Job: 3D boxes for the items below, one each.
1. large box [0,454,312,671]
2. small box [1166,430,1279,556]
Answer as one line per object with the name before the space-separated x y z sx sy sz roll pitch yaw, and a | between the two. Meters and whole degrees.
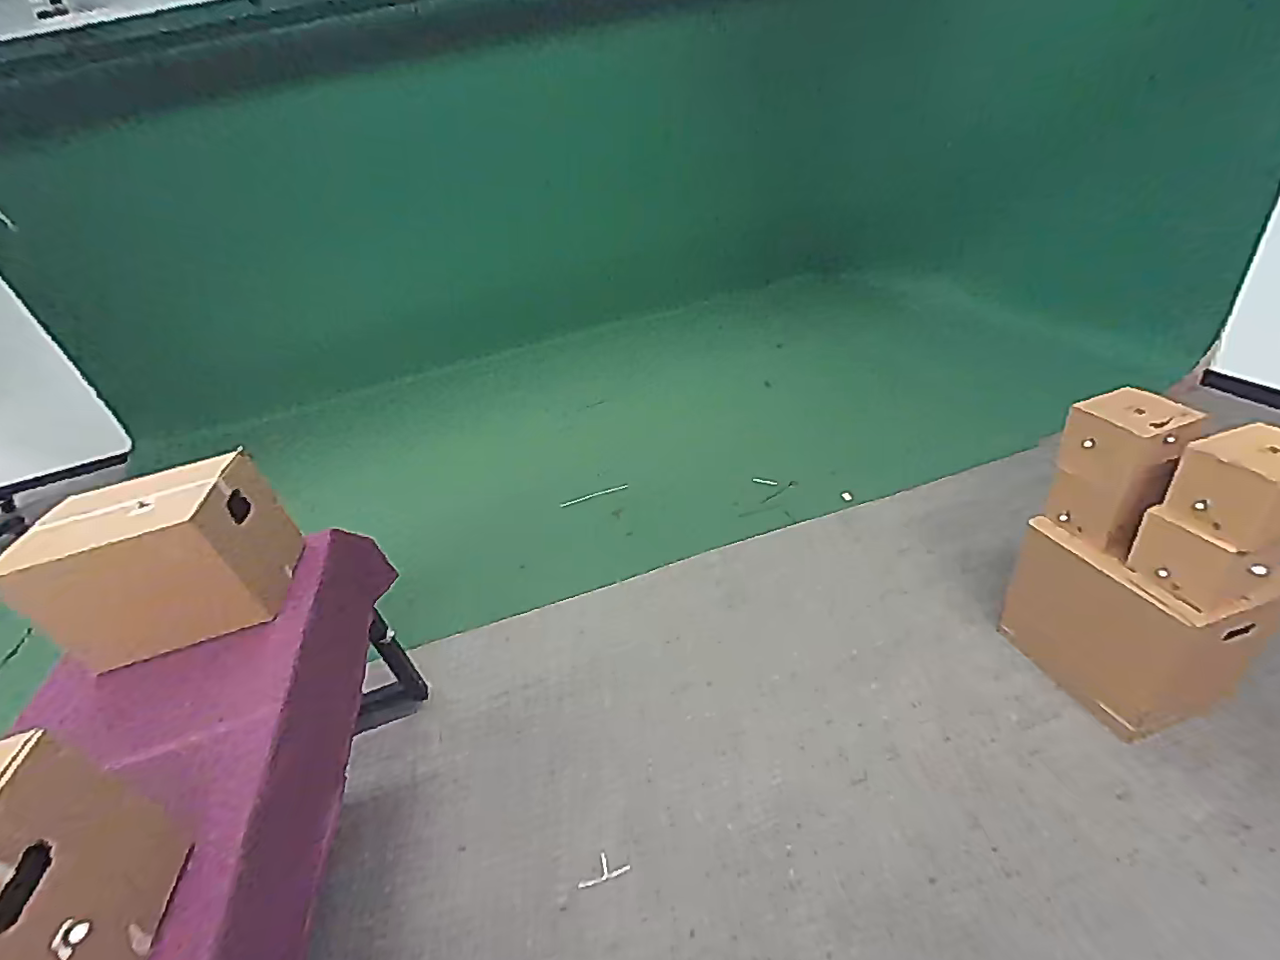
large box | -1.097 0.186 1.293 0.408 0.320 0.320 -16 34 -7
small box | 1.230 0.025 1.087 0.179 0.176 0.168 -15 31 -5
